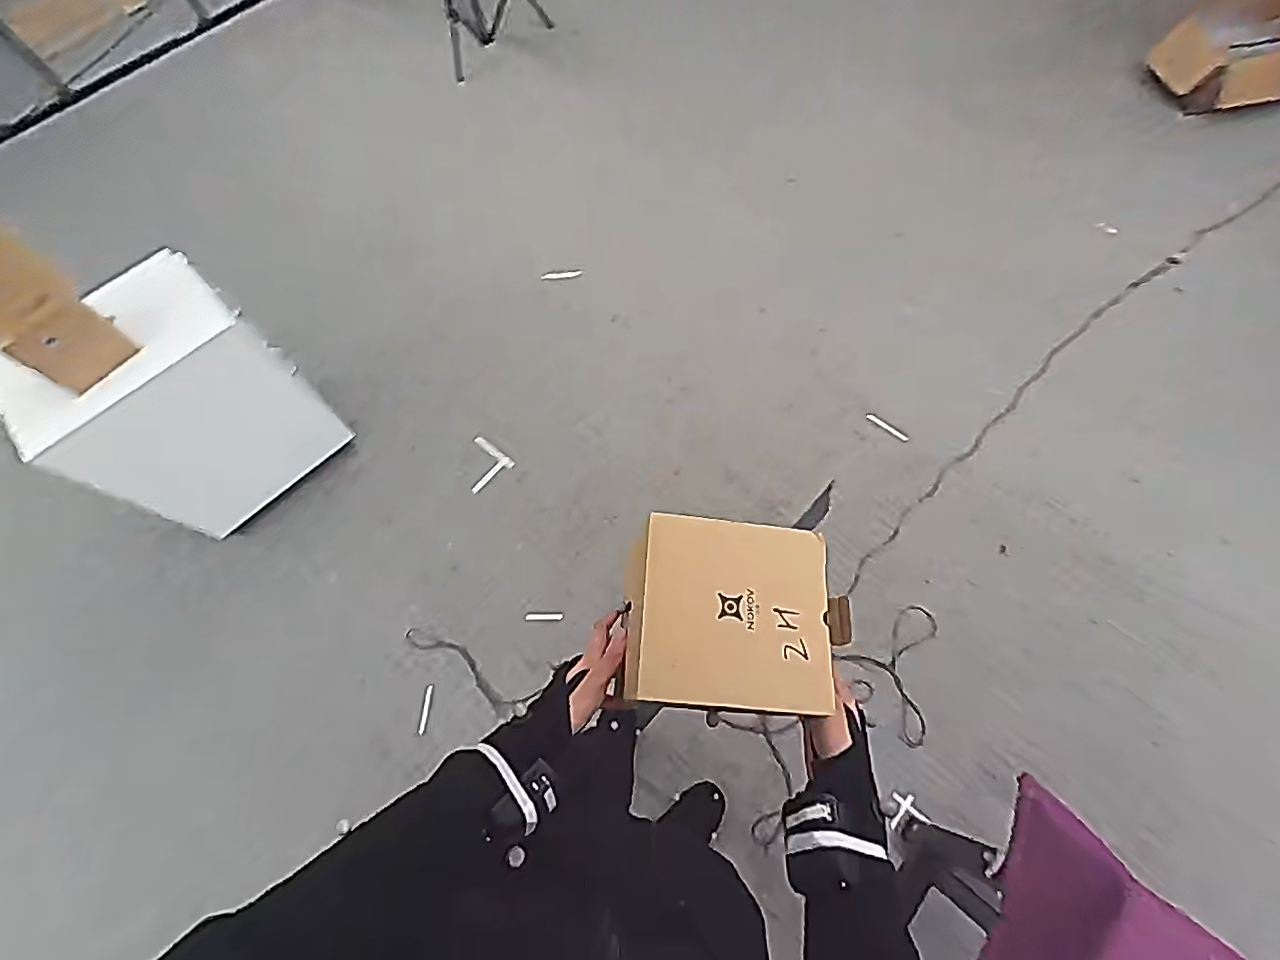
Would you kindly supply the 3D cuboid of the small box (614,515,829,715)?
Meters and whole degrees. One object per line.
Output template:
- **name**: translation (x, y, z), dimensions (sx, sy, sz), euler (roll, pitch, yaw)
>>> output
- **small box**: translation (0.071, 0.148, 0.558), dimensions (0.179, 0.176, 0.168), euler (7, 66, -7)

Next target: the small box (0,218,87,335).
- **small box**: translation (-1.322, -0.429, 1.118), dimensions (0.179, 0.176, 0.168), euler (35, 72, 20)

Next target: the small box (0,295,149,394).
- **small box**: translation (-1.314, -0.333, 1.252), dimensions (0.168, 0.176, 0.179), euler (35, 72, 19)
